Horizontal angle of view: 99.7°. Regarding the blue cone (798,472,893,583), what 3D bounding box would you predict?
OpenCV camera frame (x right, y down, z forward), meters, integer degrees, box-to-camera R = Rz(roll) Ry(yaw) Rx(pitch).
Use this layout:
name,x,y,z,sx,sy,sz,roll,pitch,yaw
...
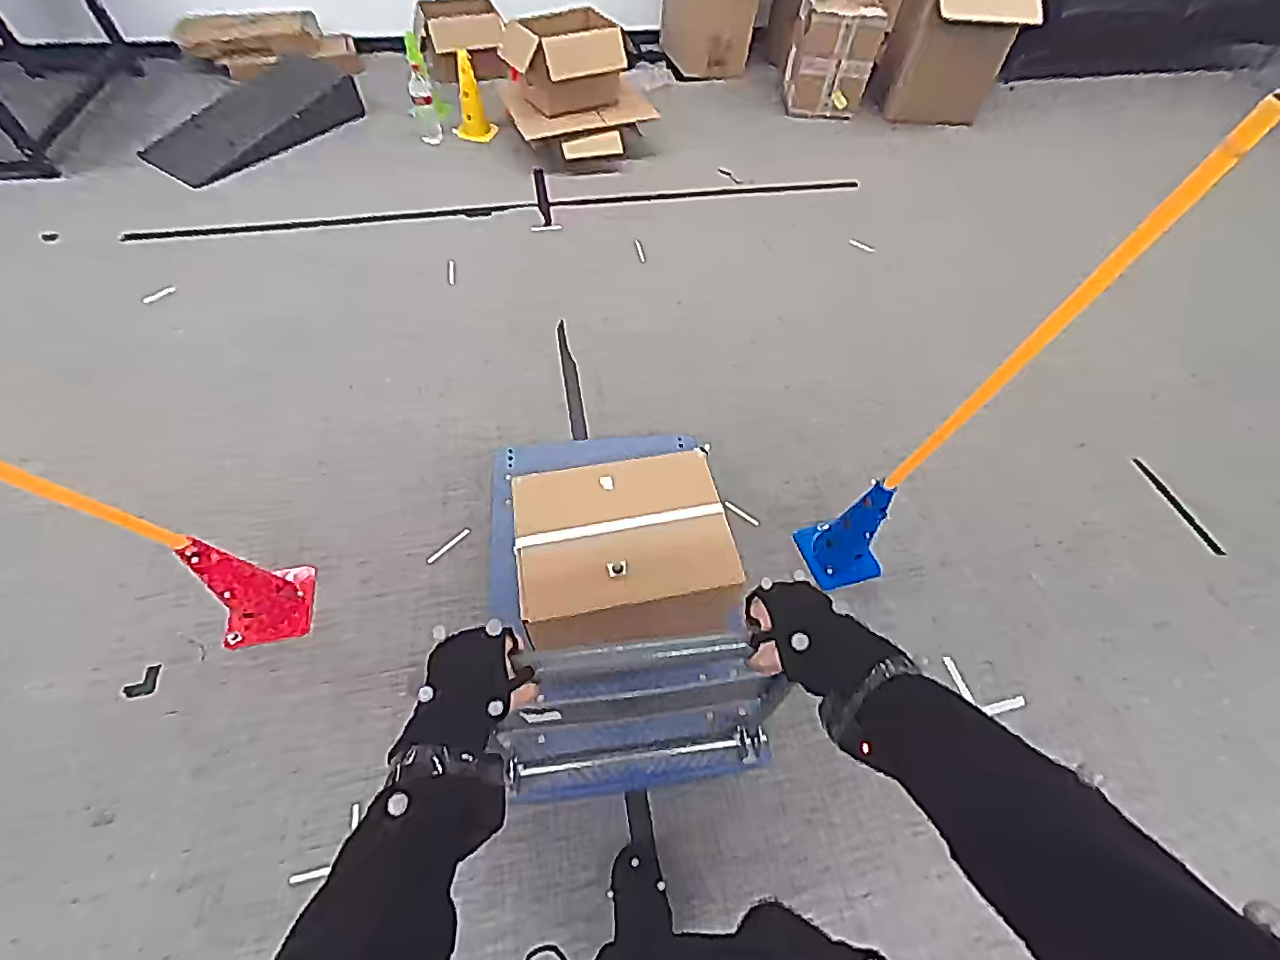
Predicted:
name,x,y,z,sx,sy,sz,roll,pitch,yaw
blue cone,0.581,0.110,1.434,0.193,0.380,0.192,-11,56,-11
